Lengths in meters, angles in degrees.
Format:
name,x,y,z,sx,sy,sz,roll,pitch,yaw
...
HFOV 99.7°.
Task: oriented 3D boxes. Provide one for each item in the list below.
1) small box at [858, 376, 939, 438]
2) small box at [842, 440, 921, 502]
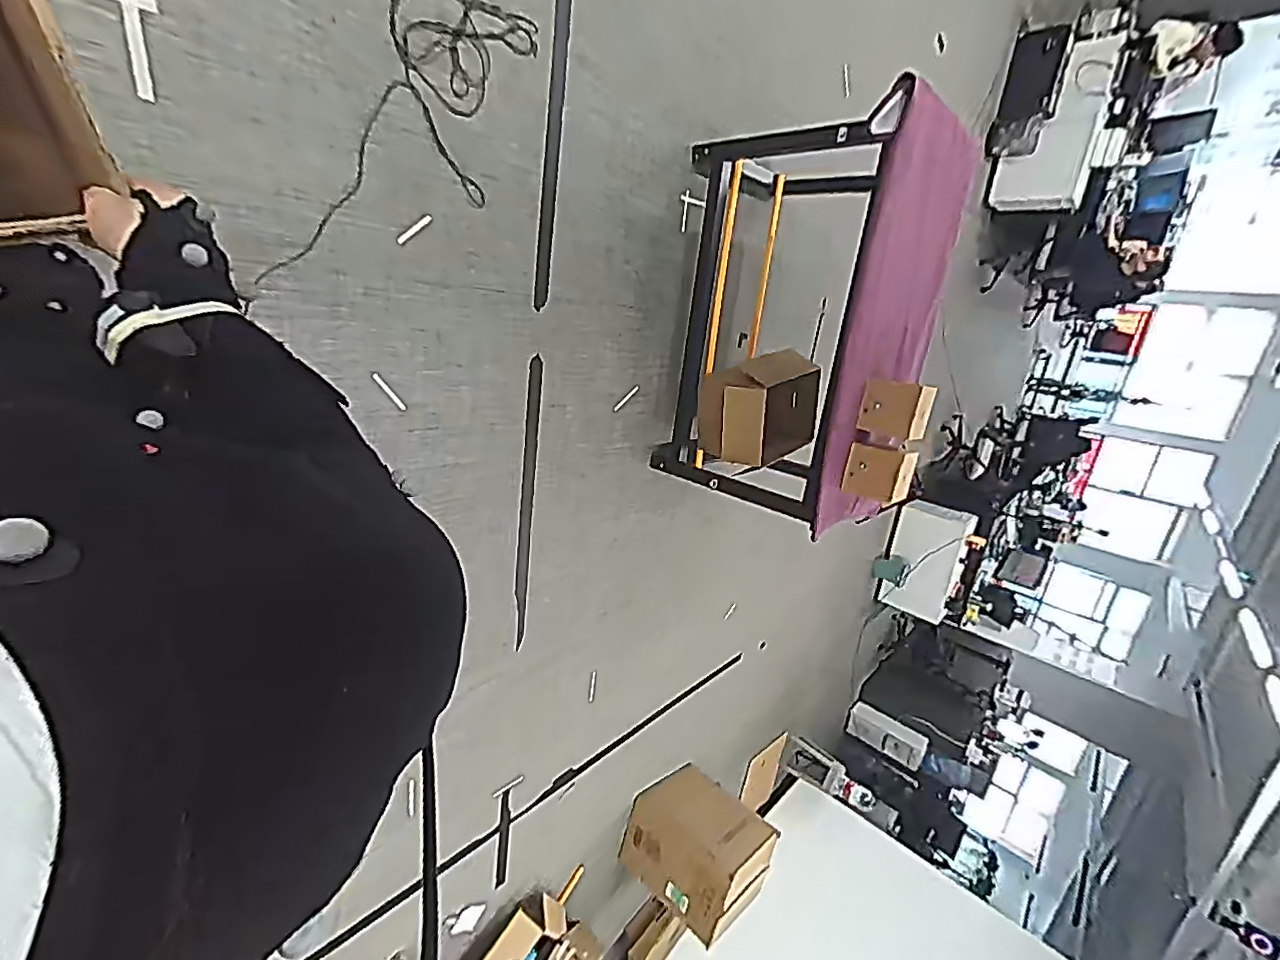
name,x,y,z,sx,sy,sz,roll,pitch,yaw
small box,0.826,-0.236,1.732,0.179,0.176,0.168,-7,112,-48
small box,0.800,-0.036,1.794,0.179,0.176,0.168,-7,112,-48
